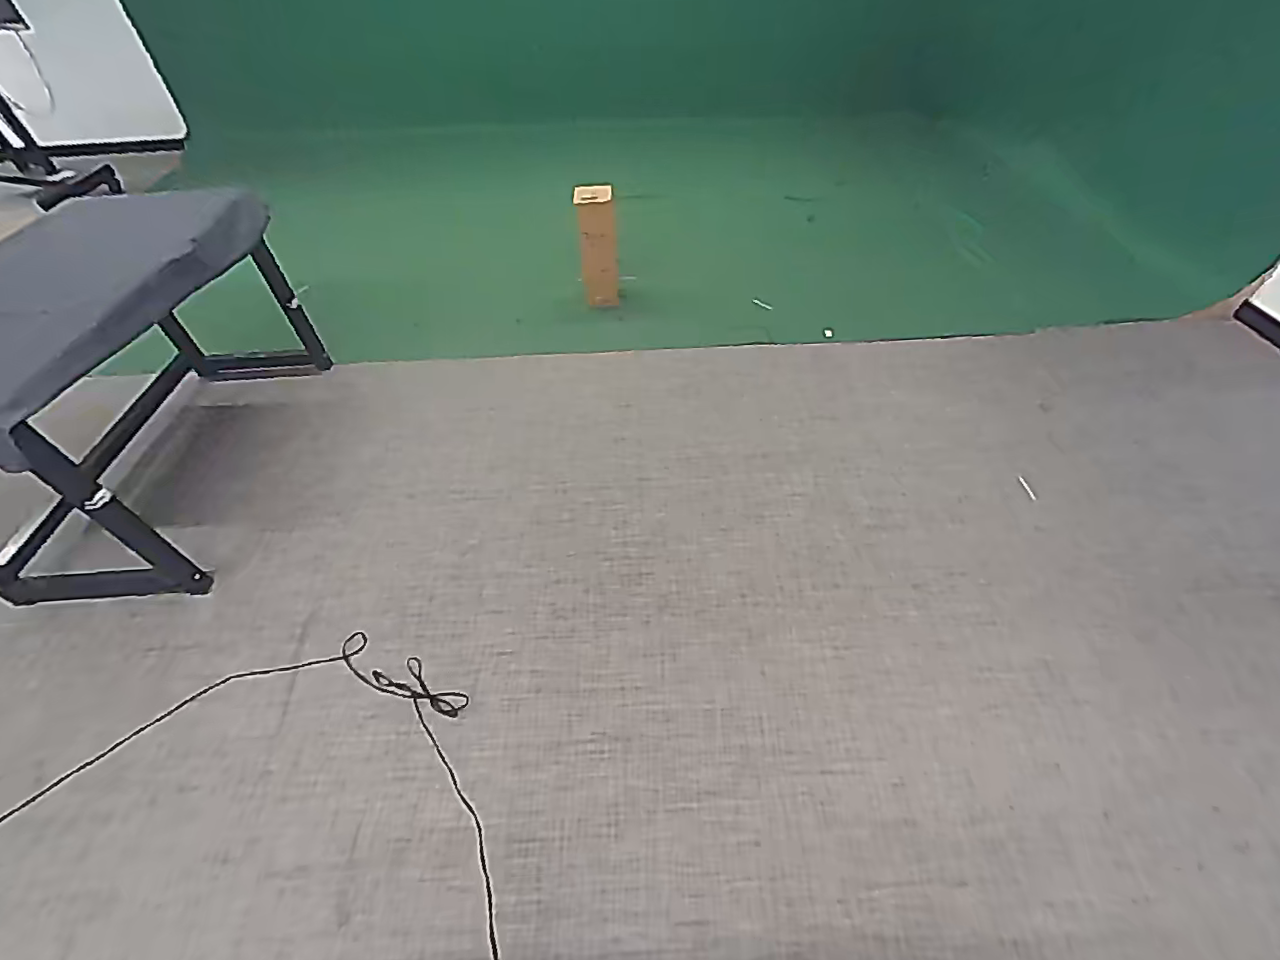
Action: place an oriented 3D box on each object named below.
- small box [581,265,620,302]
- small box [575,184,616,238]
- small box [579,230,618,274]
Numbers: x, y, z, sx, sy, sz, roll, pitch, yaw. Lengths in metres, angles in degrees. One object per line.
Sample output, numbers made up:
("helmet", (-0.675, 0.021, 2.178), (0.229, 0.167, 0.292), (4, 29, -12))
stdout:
("small box", (-0.190, -0.993, 2.653), (0.168, 0.176, 0.179), (-2, 49, 3))
("small box", (-0.197, -1.201, 2.423), (0.168, 0.176, 0.179), (-3, 48, 0))
("small box", (-0.191, -1.090, 2.545), (0.168, 0.176, 0.179), (-2, 48, 1))
